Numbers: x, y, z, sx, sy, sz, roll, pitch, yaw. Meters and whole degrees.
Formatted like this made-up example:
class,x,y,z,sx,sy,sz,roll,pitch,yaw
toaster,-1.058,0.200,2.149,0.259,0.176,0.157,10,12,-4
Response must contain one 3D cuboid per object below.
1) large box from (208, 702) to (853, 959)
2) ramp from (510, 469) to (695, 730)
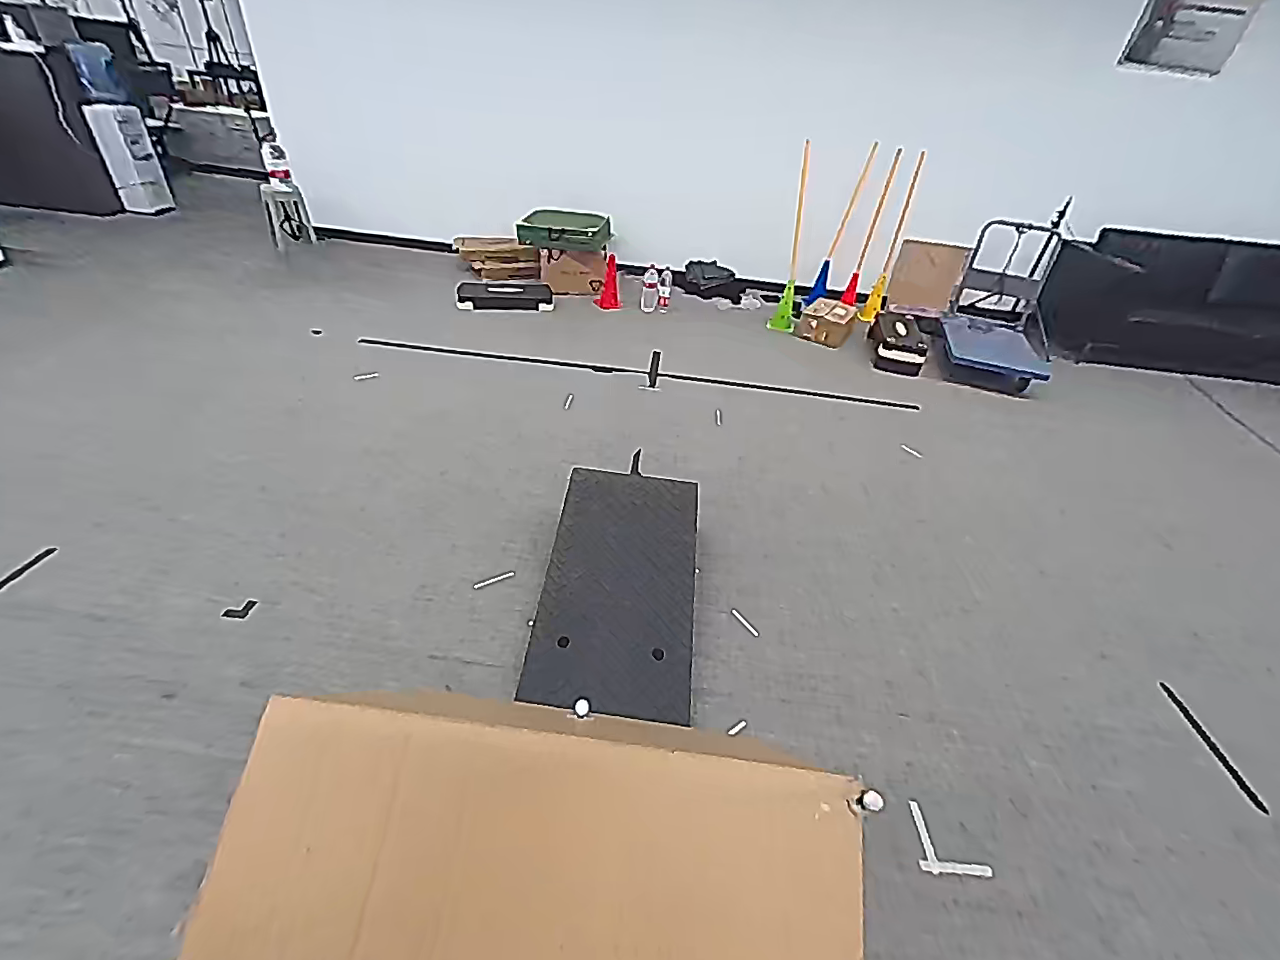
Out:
class,x,y,z,sx,sy,sz,roll,pitch,yaw
large box,-0.077,0.377,0.463,0.408,0.320,0.320,8,70,0
ramp,-0.073,0.357,1.761,0.509,0.206,0.991,7,38,-2
